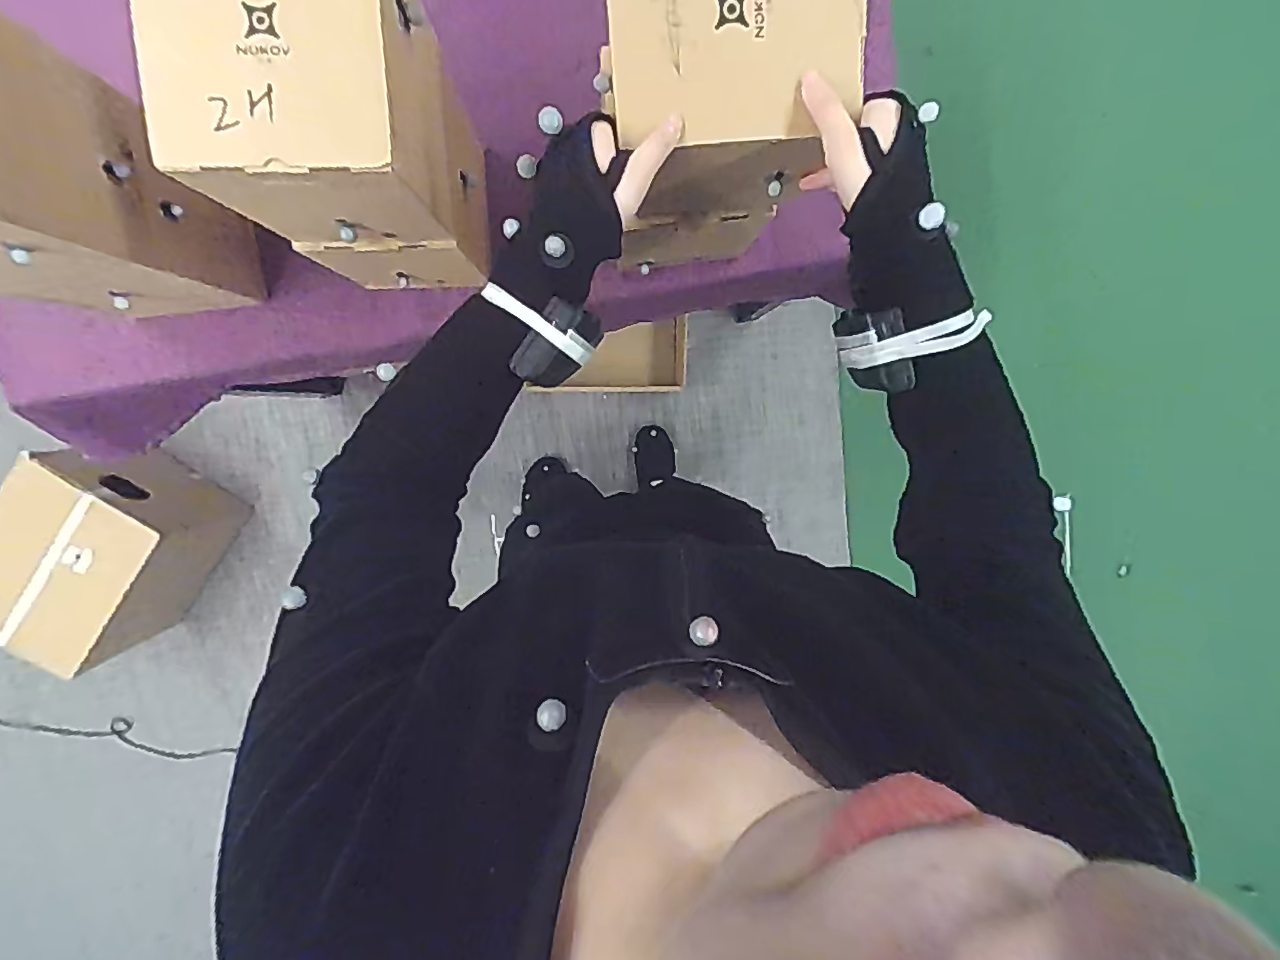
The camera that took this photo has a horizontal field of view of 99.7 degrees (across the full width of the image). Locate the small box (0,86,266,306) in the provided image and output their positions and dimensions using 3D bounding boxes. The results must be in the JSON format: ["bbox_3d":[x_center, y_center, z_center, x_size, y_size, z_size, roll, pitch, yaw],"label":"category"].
[{"bbox_3d":[-0.567,-0.296,0.600,0.179,0.176,0.168,-7,99,-2],"label":"small box"}]

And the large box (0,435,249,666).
[{"bbox_3d":[-1.263,0.144,1.291,0.320,0.320,0.408,35,94,-8],"label":"large box"}]

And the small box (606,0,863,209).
[{"bbox_3d":[0.063,-0.335,0.443,0.179,0.176,0.168,-3,102,0],"label":"small box"}]

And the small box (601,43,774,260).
[{"bbox_3d":[0.047,-0.364,0.625,0.168,0.176,0.179,-7,98,-2],"label":"small box"}]

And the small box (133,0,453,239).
[{"bbox_3d":[-0.263,-0.319,0.449,0.168,0.176,0.179,0,99,-3],"label":"small box"}]
